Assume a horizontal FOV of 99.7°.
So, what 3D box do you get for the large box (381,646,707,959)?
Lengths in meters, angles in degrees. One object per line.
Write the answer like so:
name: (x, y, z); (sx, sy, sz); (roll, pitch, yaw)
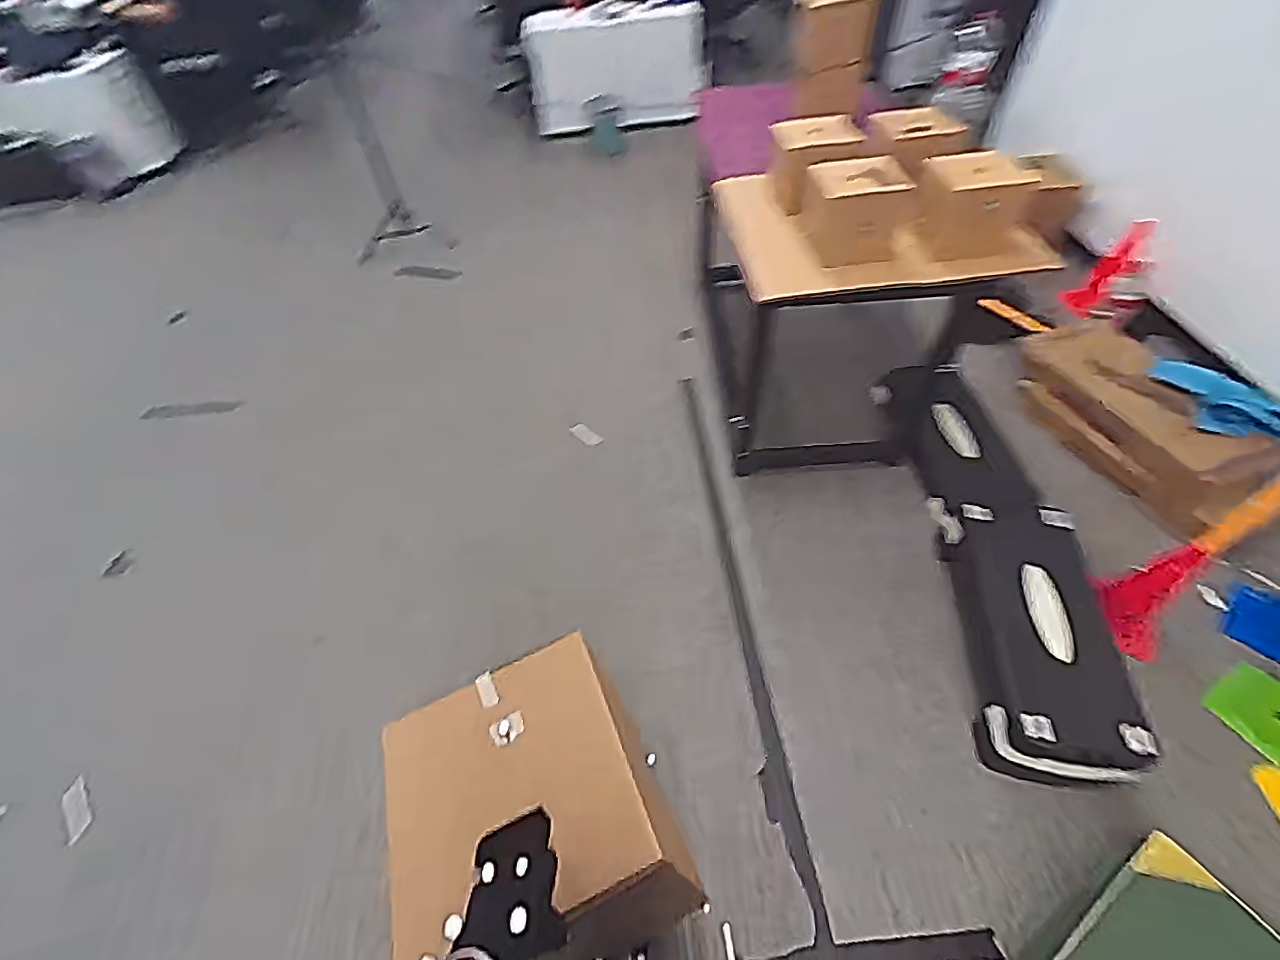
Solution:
large box: (-0.131, 0.522, 0.824); (0.320, 0.408, 0.320); (-26, 47, -6)
